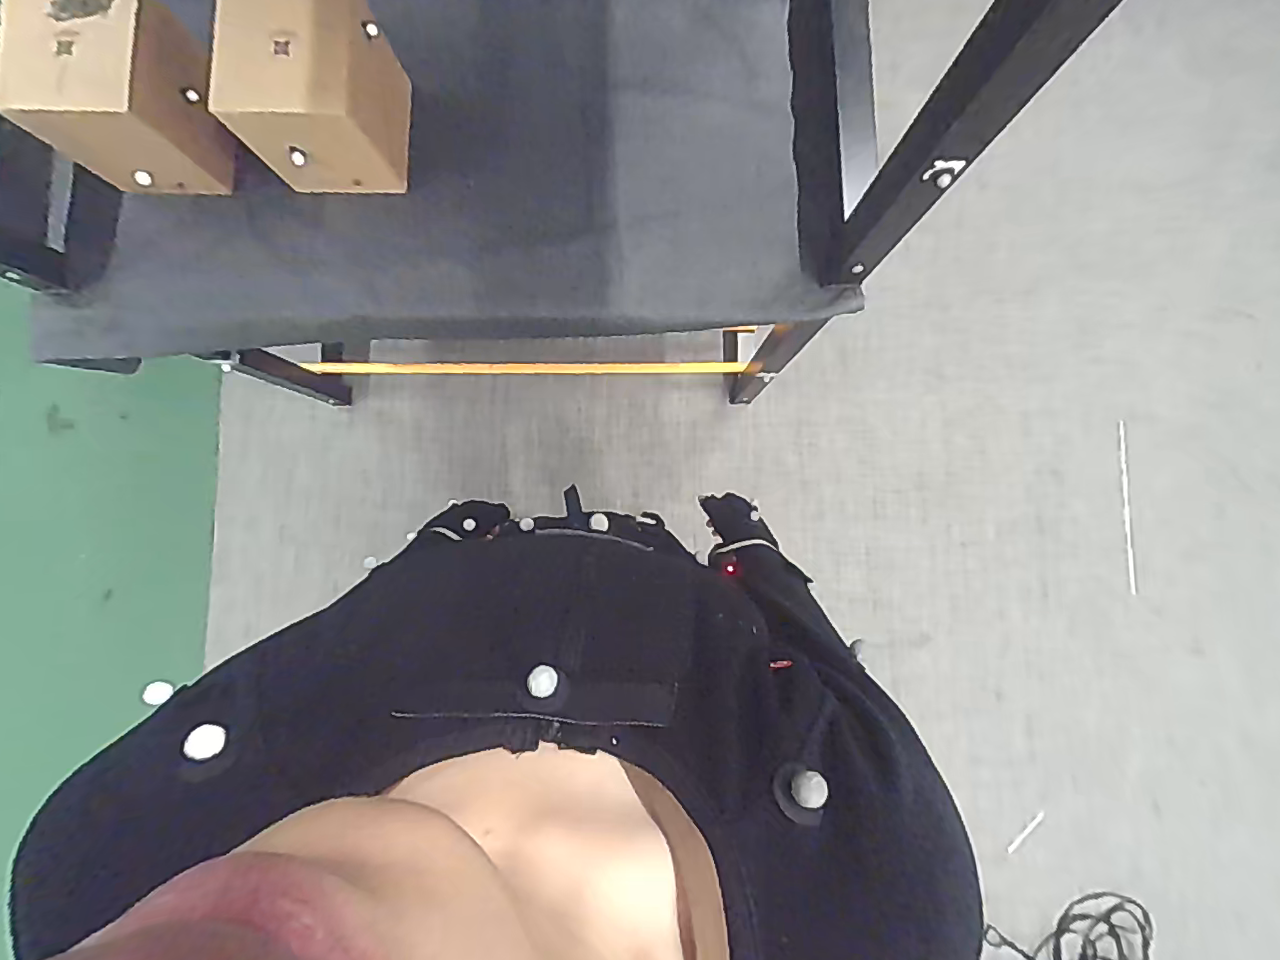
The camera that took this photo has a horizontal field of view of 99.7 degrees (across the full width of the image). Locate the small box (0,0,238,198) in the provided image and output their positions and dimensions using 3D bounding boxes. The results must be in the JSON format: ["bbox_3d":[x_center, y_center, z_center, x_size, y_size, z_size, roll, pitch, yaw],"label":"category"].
[{"bbox_3d":[-0.680,-0.514,0.728,0.168,0.176,0.179,1,86,0],"label":"small box"}]

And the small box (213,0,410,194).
[{"bbox_3d":[-0.427,-0.513,0.730,0.168,0.176,0.179,1,86,0],"label":"small box"}]
